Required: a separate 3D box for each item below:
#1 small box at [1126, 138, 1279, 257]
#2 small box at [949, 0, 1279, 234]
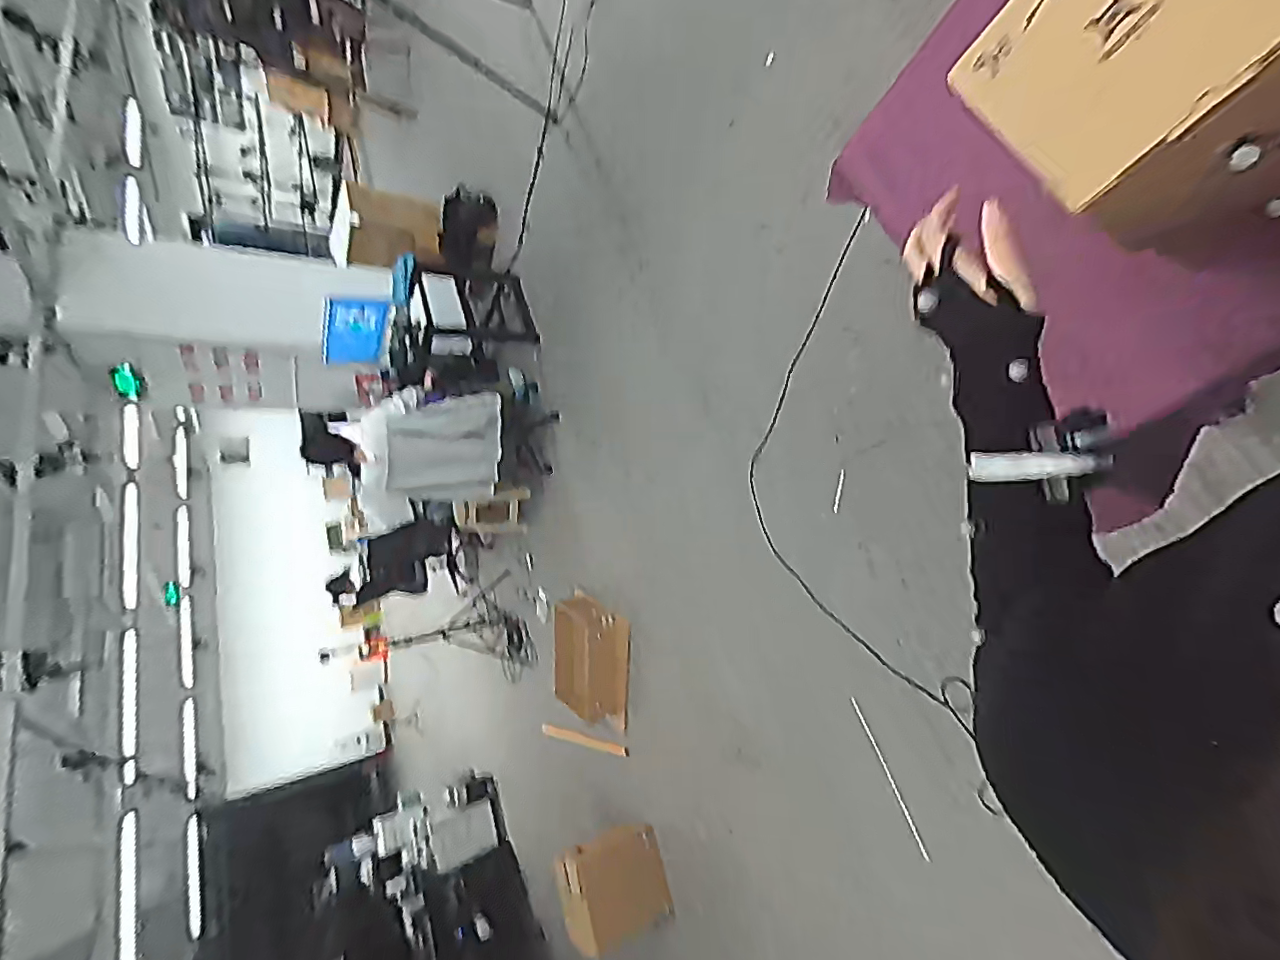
[{"bbox_3d":[0.531,-0.340,0.516,0.168,0.176,0.179,-47,58,47],"label":"small box"},{"bbox_3d":[0.398,-0.319,0.423,0.168,0.176,0.179,-47,58,47],"label":"small box"}]
